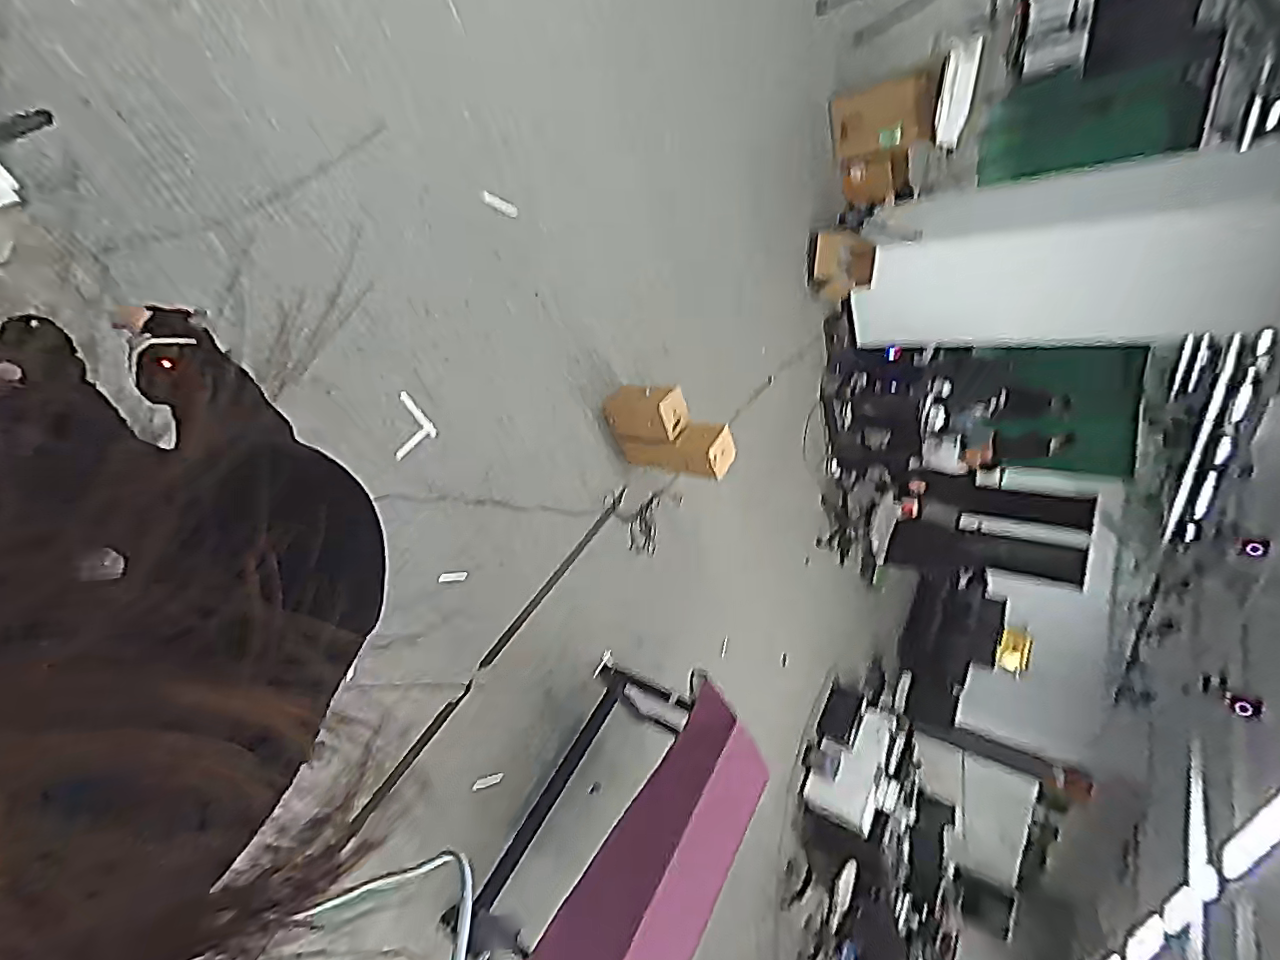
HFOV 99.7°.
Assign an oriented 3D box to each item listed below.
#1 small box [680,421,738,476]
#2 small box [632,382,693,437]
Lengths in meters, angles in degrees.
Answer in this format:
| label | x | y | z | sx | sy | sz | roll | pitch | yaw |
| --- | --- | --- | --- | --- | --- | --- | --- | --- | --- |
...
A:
| label | x | y | z | sx | sy | sz | roll | pitch | yaw |
| --- | --- | --- | --- | --- | --- | --- | --- | --- | --- |
| small box | 0.296 | -0.140 | 2.324 | 0.179 | 0.176 | 0.168 | -54 | 134 | -30 |
| small box | 0.094 | -0.306 | 2.302 | 0.168 | 0.176 | 0.179 | -48 | 130 | -34 |
